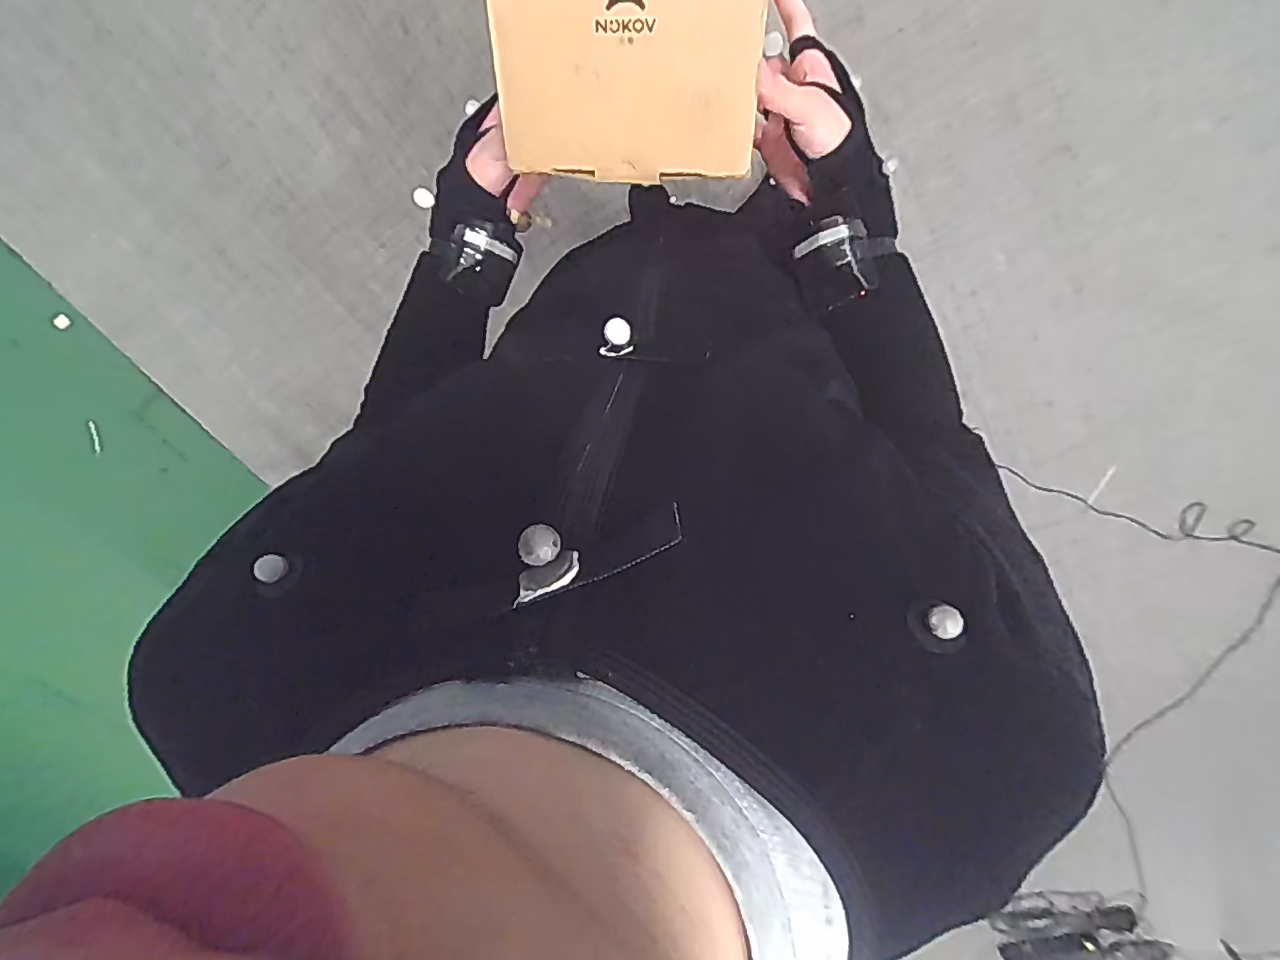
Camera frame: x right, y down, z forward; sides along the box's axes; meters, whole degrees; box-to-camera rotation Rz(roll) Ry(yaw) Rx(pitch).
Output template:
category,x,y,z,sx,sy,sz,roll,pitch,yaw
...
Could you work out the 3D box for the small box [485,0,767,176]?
category,x,y,z,sx,sy,sz,roll,pitch,yaw
small box,0.001,-0.322,0.368,0.168,0.176,0.179,4,128,5
